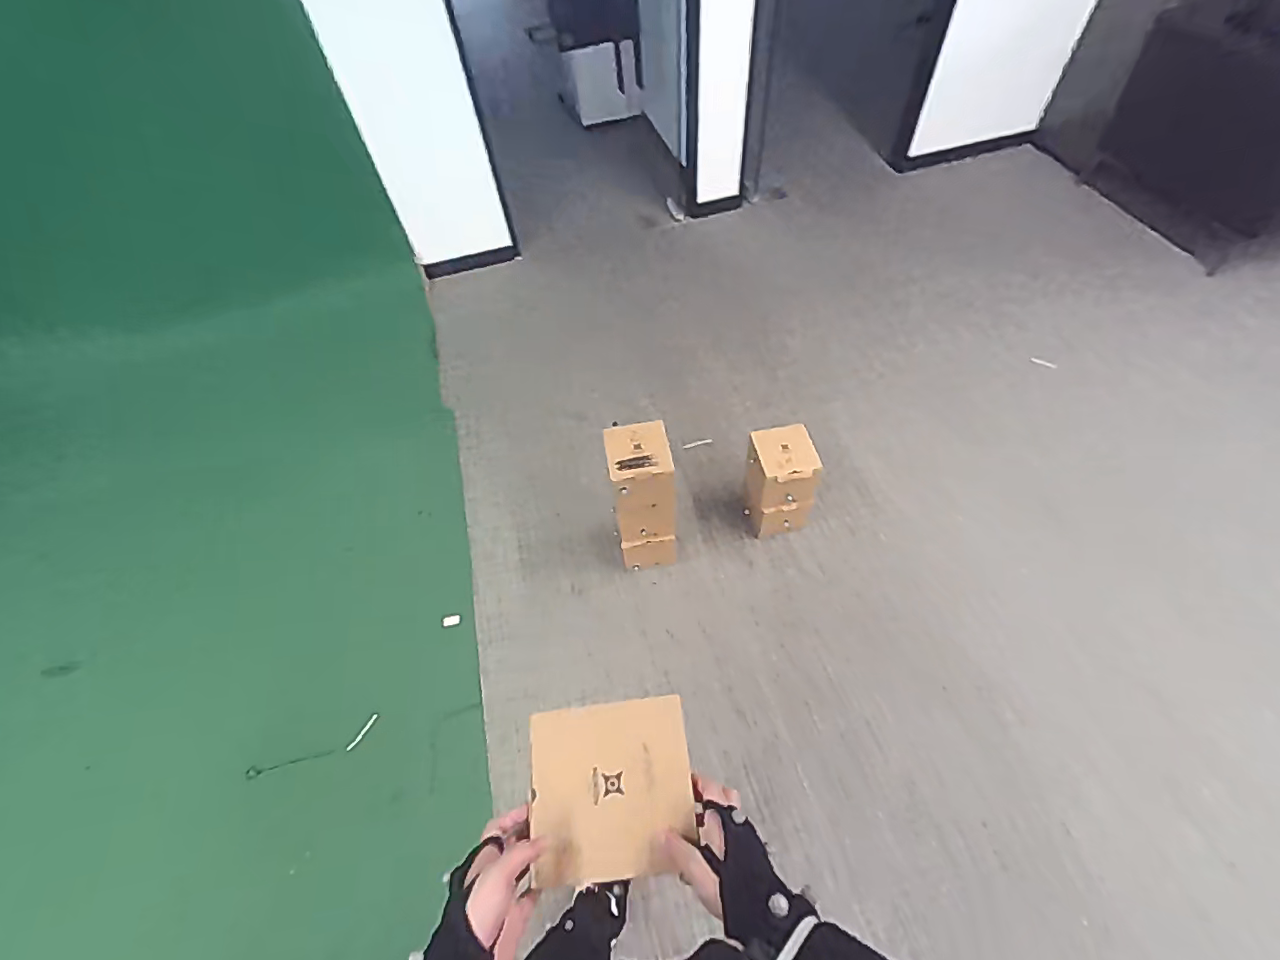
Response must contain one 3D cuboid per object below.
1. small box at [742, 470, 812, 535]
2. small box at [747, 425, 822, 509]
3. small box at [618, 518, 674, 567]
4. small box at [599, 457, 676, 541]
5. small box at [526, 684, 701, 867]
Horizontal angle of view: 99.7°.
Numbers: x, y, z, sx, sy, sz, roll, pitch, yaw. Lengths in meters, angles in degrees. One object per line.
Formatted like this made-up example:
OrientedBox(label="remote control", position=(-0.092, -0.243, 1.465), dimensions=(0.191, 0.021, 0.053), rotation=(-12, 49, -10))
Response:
OrientedBox(label="small box", position=(0.439, 0.065, 1.760), dimensions=(0.168, 0.176, 0.179), rotation=(-12, 56, -4))
OrientedBox(label="small box", position=(0.427, -0.037, 1.630), dimensions=(0.168, 0.176, 0.179), rotation=(-9, 55, -1))
OrientedBox(label="small box", position=(0.015, 0.164, 1.723), dimensions=(0.168, 0.176, 0.179), rotation=(-10, 54, -3))
OrientedBox(label="small box", position=(-0.001, 0.061, 1.606), dimensions=(0.179, 0.176, 0.168), rotation=(16, 60, 15))
OrientedBox(label="small box", position=(-0.024, 0.354, 0.641), dimensions=(0.179, 0.176, 0.168), rotation=(-7, 56, 2))
